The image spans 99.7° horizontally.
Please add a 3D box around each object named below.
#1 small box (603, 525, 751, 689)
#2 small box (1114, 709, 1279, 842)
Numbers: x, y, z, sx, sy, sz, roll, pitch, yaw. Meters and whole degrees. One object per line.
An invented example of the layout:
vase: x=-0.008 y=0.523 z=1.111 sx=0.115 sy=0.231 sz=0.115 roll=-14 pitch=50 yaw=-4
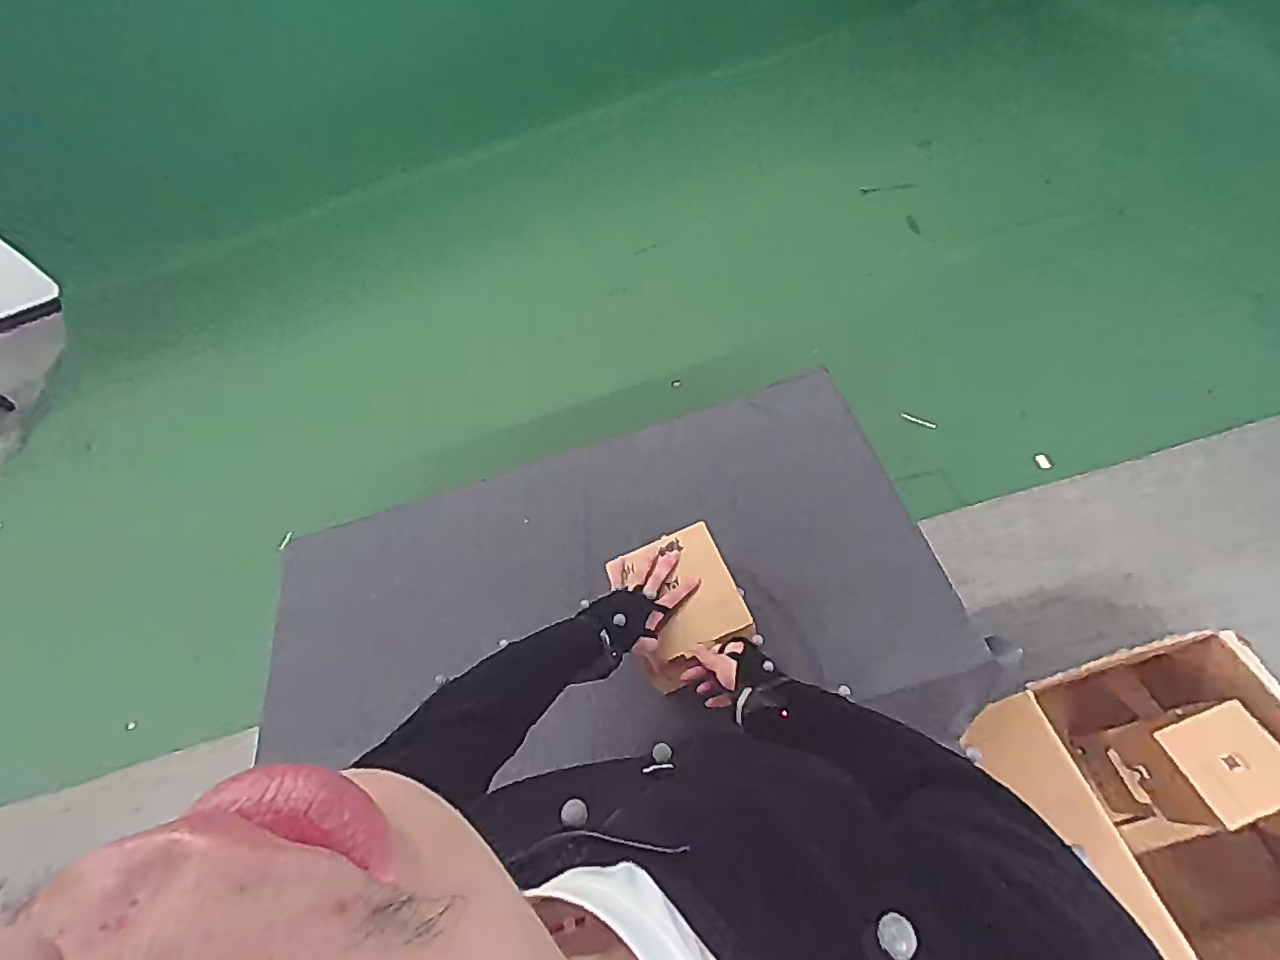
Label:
small box: x=0.062 y=0.204 z=0.829 sx=0.168 sy=0.176 sz=0.179 roll=-23 pitch=57 yaw=-2
small box: x=1.070 y=0.552 z=1.021 sx=0.179 sy=0.176 sz=0.168 roll=-24 pitch=59 yaw=0
